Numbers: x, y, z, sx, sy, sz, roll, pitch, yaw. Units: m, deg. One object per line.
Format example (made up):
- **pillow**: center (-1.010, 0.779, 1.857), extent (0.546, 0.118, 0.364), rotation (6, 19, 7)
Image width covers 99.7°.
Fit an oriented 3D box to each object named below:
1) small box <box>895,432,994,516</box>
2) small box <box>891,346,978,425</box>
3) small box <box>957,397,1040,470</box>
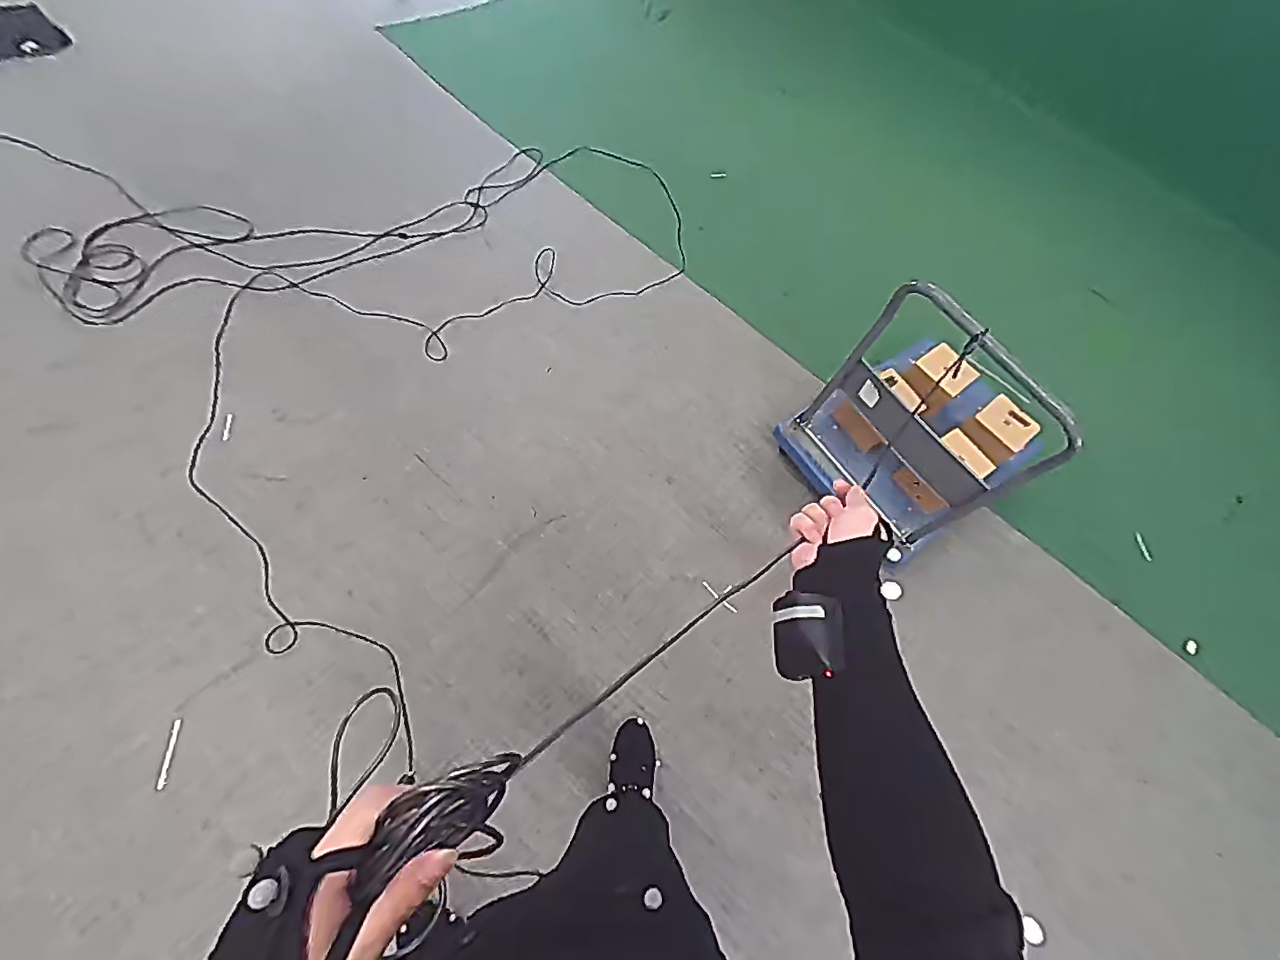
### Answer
- **small box**: center (0.944, -0.015, 1.692), extent (0.179, 0.176, 0.168), rotation (-28, 71, -23)
- **small box**: center (1.004, -0.321, 1.866), extent (0.179, 0.176, 0.168), rotation (-33, 73, -24)
- **small box**: center (1.161, -0.137, 1.797), extent (0.179, 0.176, 0.168), rotation (-33, 72, -24)
